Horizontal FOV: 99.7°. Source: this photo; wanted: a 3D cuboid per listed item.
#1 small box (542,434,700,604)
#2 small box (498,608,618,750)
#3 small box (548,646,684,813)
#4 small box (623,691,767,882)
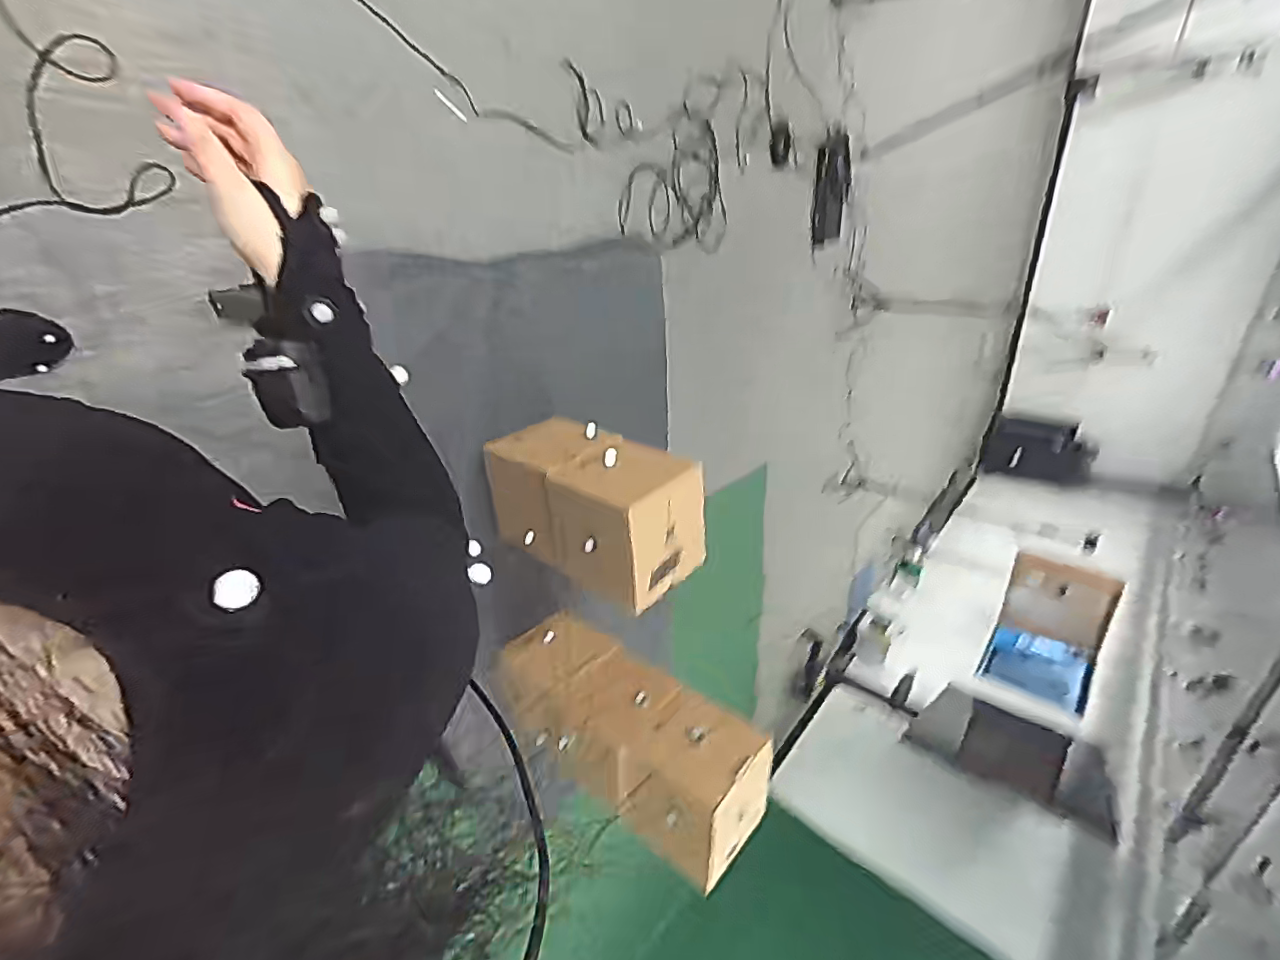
[{"bbox_3d":[-0.026,0.049,0.820,0.168,0.176,0.179,-30,126,-40],"label":"small box"},{"bbox_3d":[-0.157,0.385,1.063,0.168,0.176,0.179,-27,124,-43],"label":"small box"},{"bbox_3d":[-0.040,0.427,0.959,0.179,0.176,0.168,-23,120,-43],"label":"small box"},{"bbox_3d":[0.085,0.467,0.861,0.168,0.176,0.179,-22,119,-45],"label":"small box"}]
